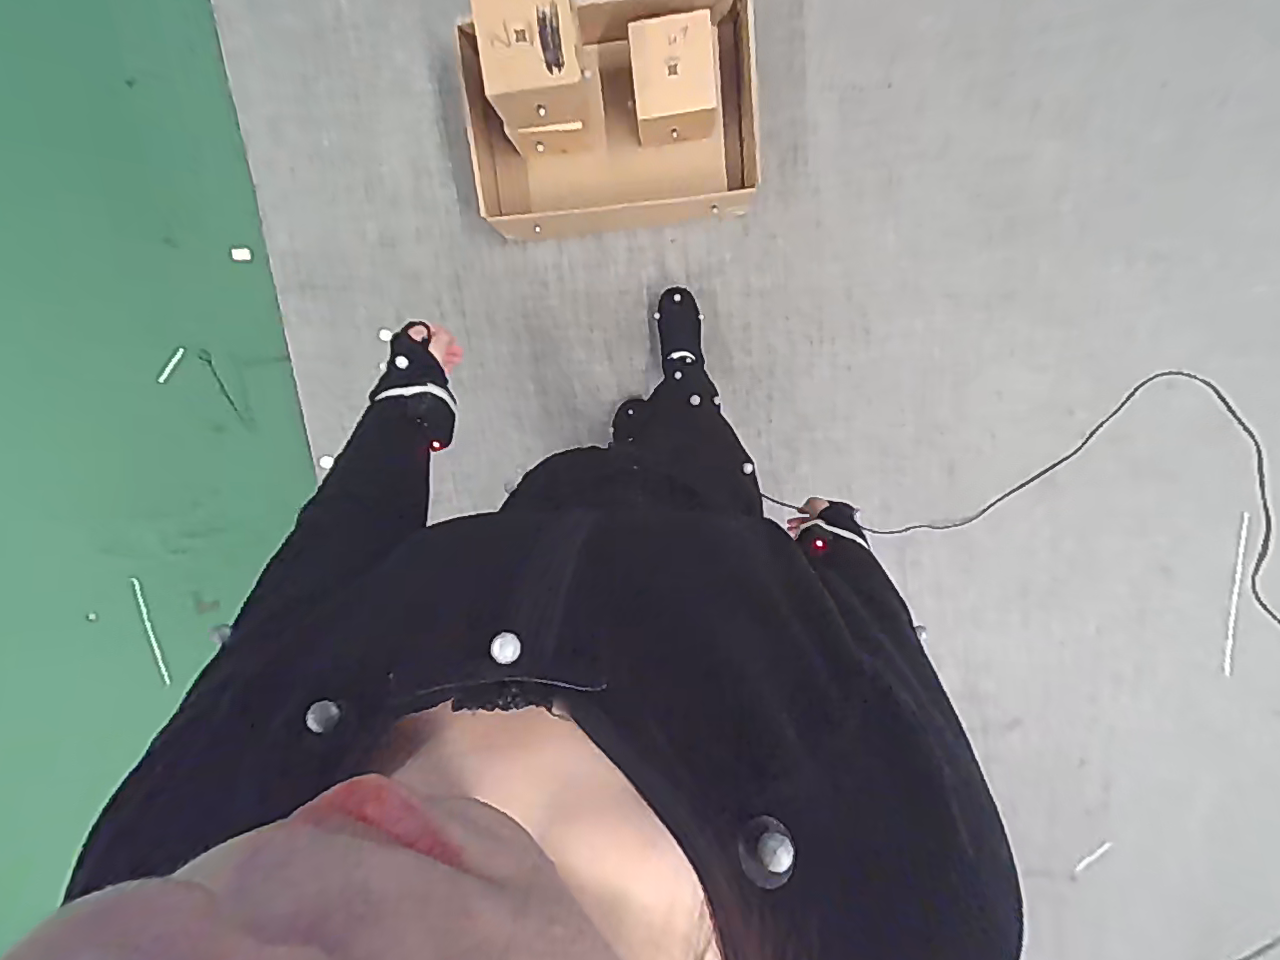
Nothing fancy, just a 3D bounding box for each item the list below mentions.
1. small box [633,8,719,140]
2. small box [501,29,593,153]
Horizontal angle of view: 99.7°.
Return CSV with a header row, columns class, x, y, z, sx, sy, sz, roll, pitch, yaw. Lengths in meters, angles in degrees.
class,x,y,z,sx,sy,sz,roll,pitch,yaw
small box,0.078,-0.854,1.160,0.168,0.176,0.179,-5,104,4
small box,-0.195,-0.835,1.181,0.168,0.176,0.179,-1,103,2
